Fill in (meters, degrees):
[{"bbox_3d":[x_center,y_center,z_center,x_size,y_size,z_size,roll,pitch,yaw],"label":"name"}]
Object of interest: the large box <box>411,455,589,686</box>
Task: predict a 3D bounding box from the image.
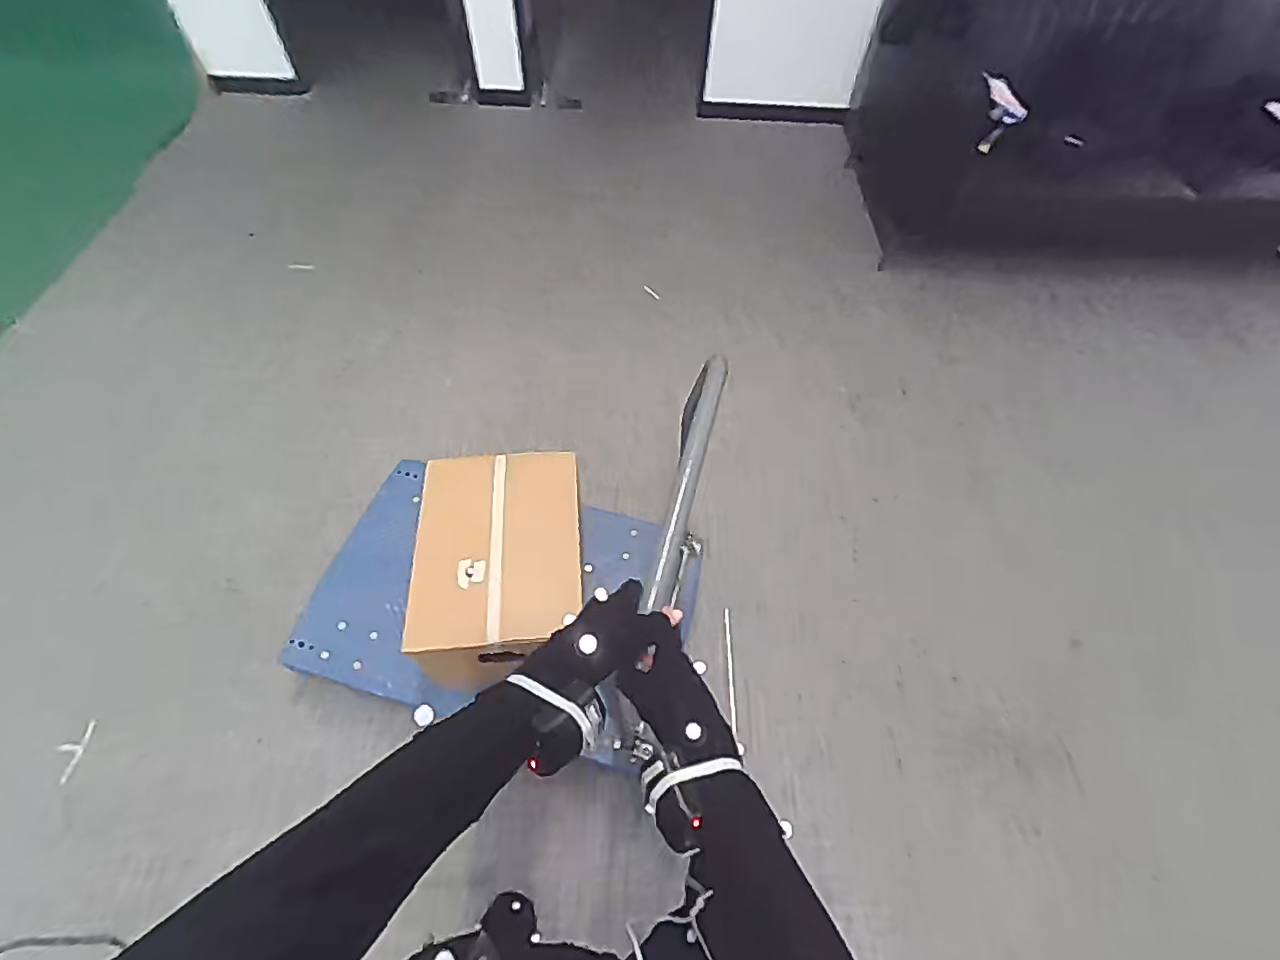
[{"bbox_3d":[-0.274,0.197,1.172,0.320,0.320,0.408,-3,58,-5],"label":"large box"}]
